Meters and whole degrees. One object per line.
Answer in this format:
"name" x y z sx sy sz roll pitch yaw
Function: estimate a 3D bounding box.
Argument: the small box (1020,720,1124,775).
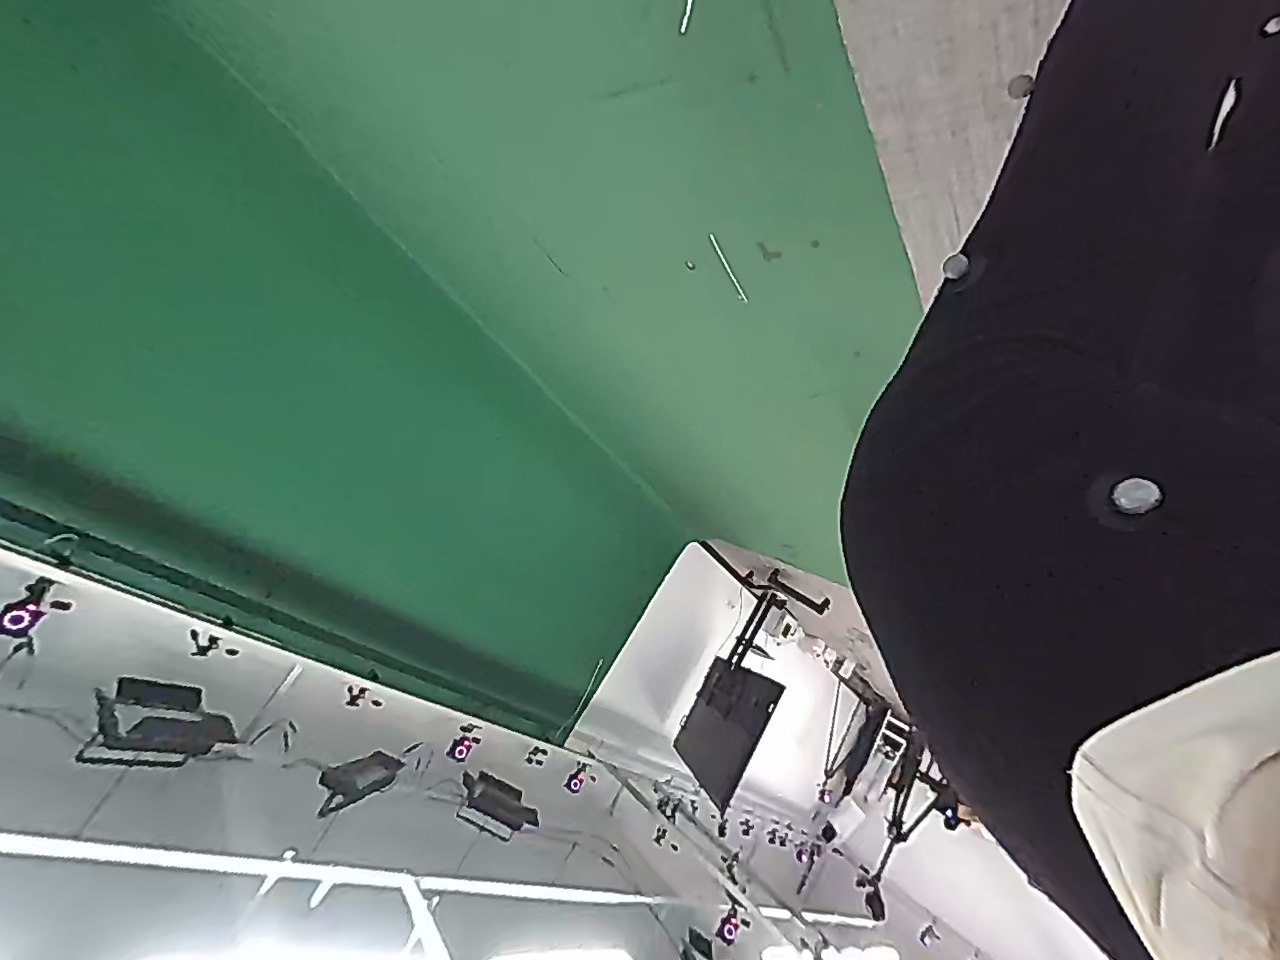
"small box" 1.350 0.775 1.691 0.179 0.176 0.168 34 166 -5
